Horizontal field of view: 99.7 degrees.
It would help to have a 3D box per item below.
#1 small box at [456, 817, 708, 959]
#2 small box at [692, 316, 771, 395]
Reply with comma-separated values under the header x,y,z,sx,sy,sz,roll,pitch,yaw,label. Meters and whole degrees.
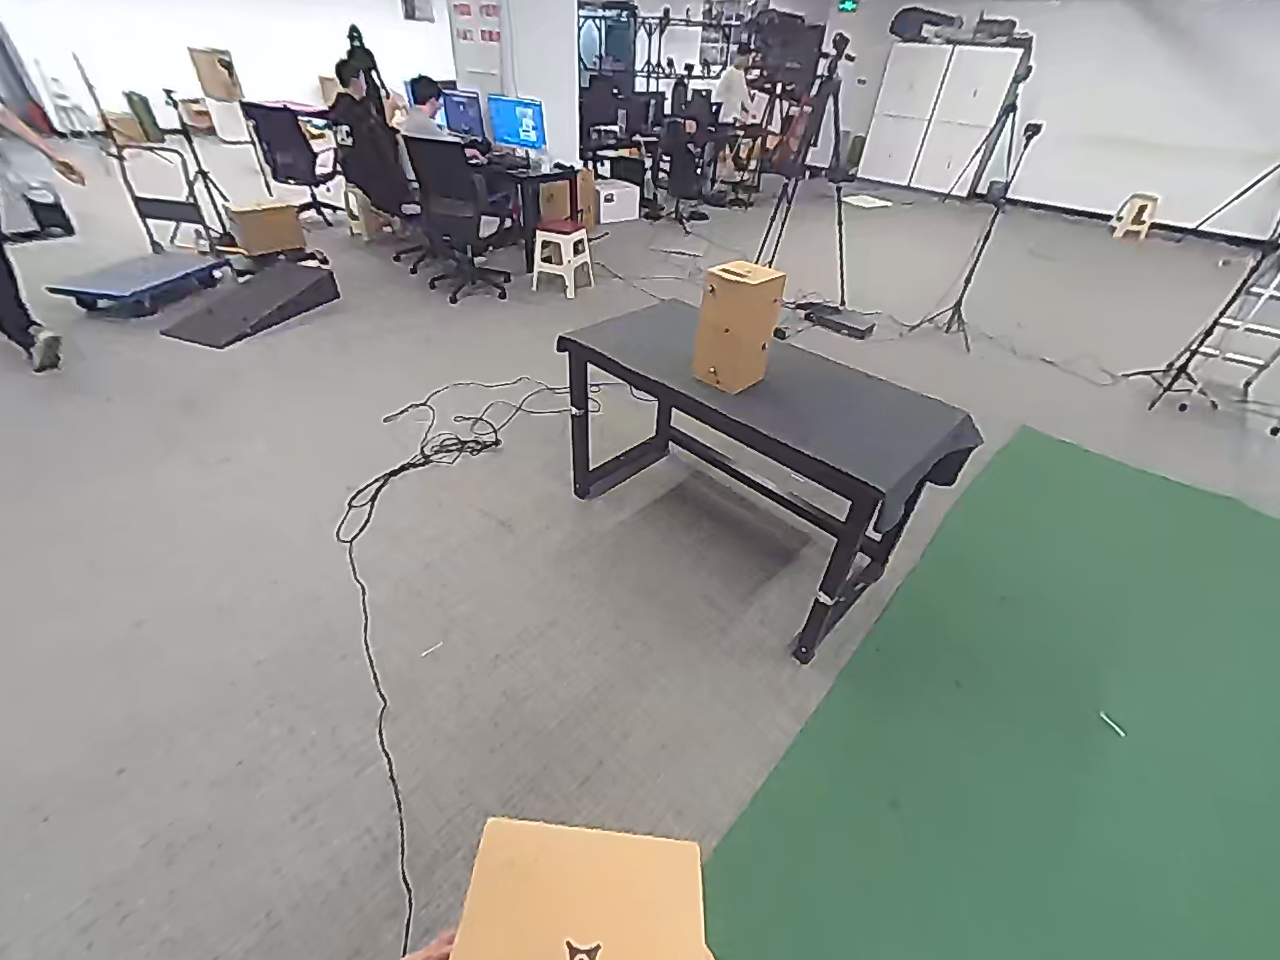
x,y,z,sx,sy,sz,roll,pitch,yaw,label
-0.051,0.381,0.379,0.168,0.176,0.179,9,29,-4,small box
0.280,-0.389,1.688,0.168,0.176,0.179,32,45,31,small box
